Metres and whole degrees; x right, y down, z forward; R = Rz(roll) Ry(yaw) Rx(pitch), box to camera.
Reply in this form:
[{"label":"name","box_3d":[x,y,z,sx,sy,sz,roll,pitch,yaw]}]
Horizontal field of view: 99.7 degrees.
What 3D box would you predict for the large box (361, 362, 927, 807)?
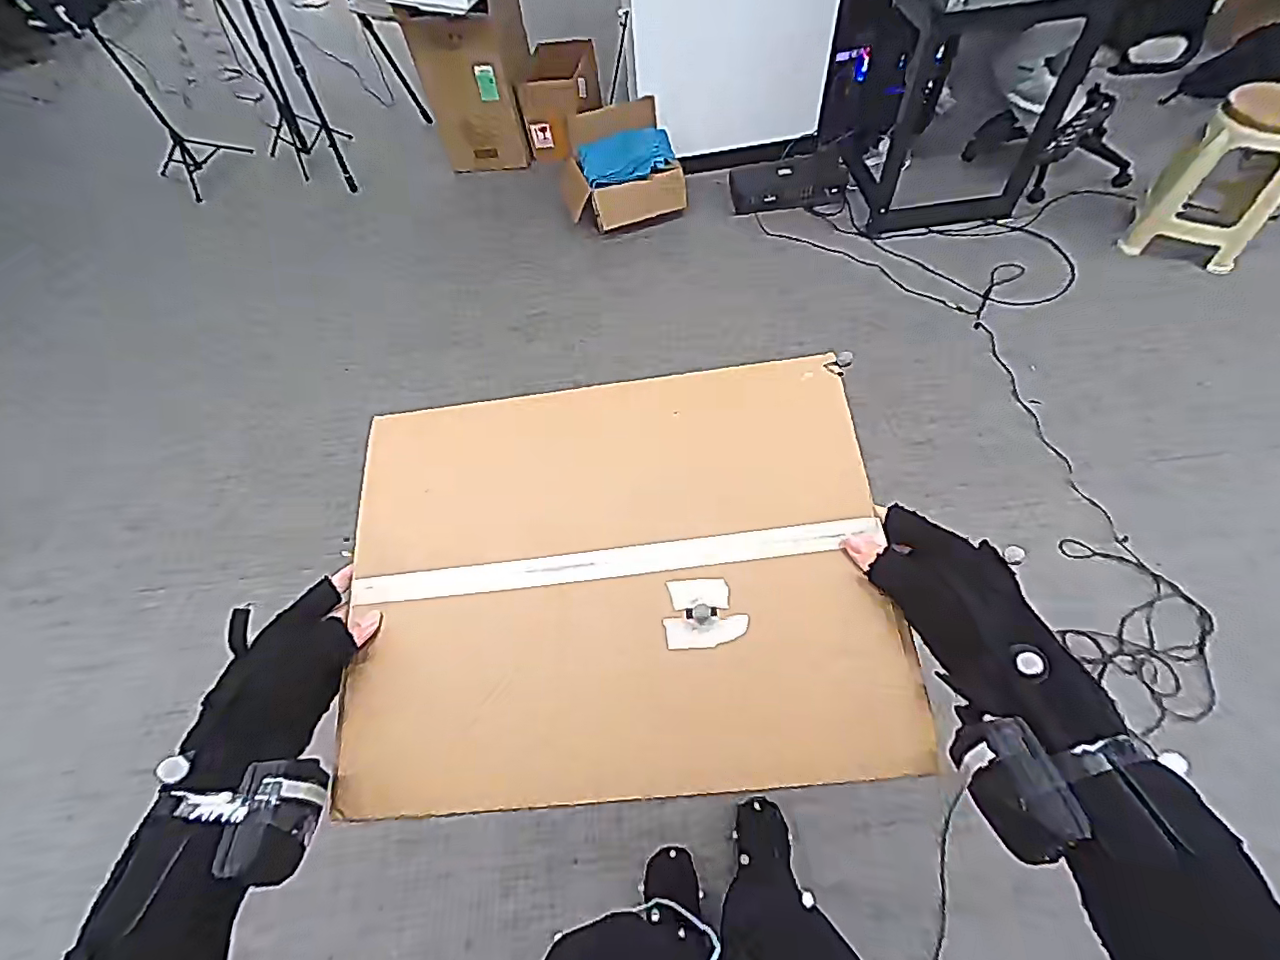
[{"label":"large box","box_3d":[-0.003,0.120,0.564,0.408,0.320,0.320,-7,68,4]}]
